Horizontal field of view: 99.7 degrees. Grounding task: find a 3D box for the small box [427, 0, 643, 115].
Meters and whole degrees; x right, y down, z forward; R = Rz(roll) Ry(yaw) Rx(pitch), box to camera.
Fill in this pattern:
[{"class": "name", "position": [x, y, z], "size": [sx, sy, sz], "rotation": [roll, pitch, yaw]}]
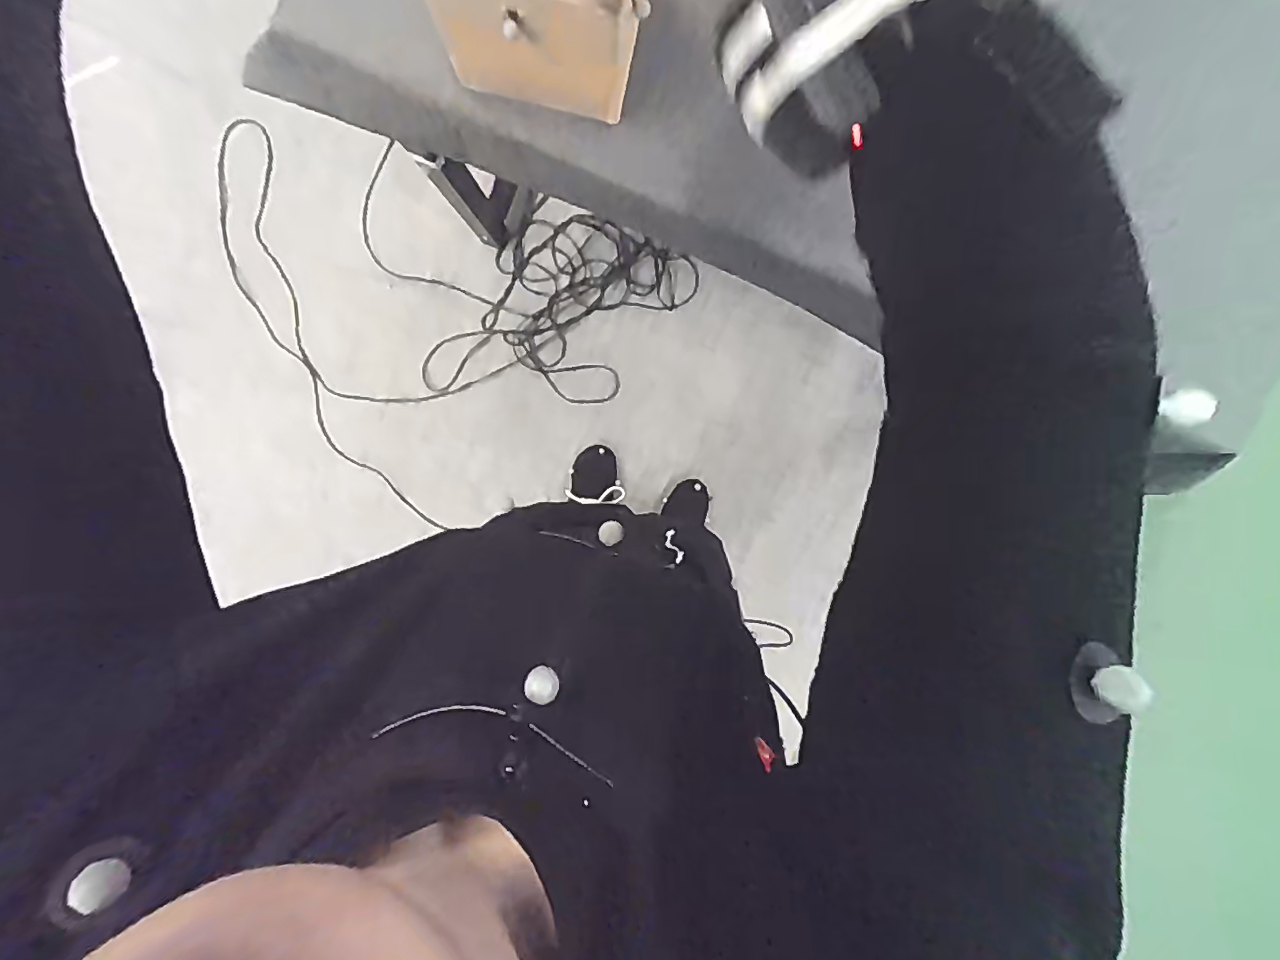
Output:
[{"class": "small box", "position": [-0.085, -0.479, 0.500], "size": [0.179, 0.176, 0.168], "rotation": [12, 95, -3]}]
